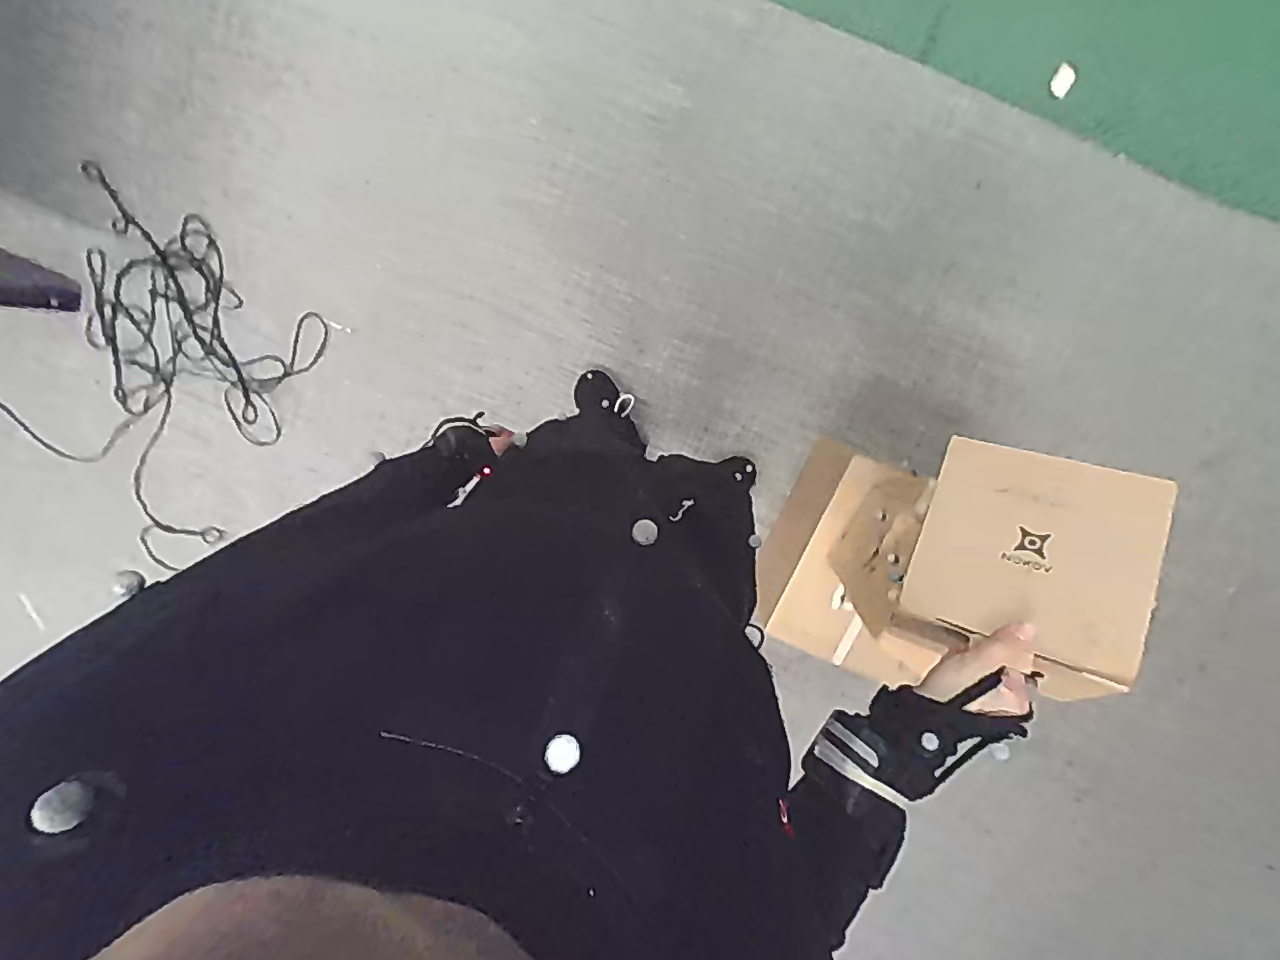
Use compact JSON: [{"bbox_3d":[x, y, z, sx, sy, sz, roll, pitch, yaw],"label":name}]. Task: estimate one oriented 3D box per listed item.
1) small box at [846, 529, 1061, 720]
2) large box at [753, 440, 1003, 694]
[{"bbox_3d":[0.435,0.196,0.785,0.179,0.176,0.168,37,104,-2],"label":"small box"},{"bbox_3d":[0.480,0.165,1.191,0.320,0.320,0.408,23,104,2],"label":"large box"}]
